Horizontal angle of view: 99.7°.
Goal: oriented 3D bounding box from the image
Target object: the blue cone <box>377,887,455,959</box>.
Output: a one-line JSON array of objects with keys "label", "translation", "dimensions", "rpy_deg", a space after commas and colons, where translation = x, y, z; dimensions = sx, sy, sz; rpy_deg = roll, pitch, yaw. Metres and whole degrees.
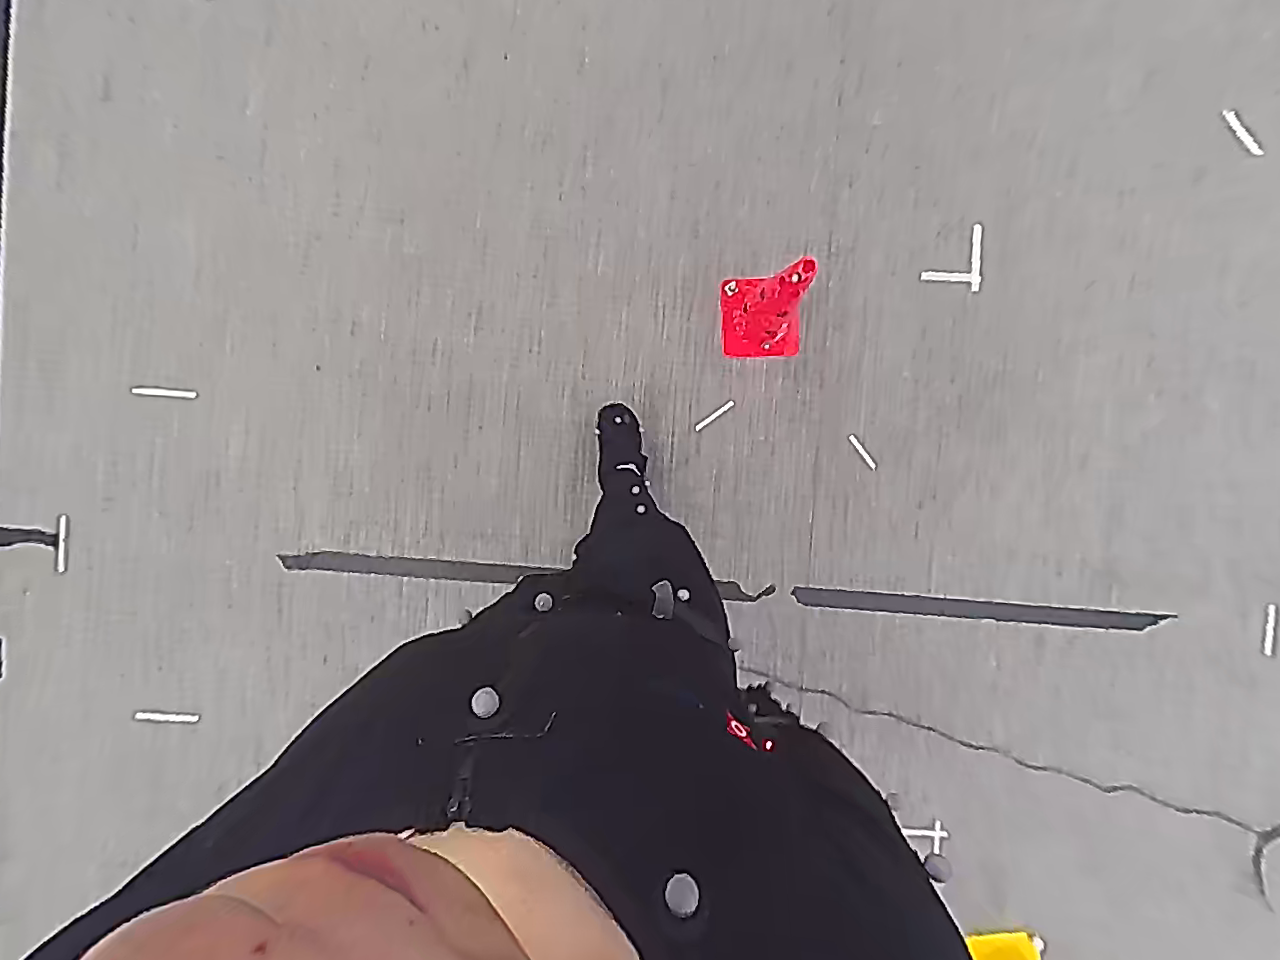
[{"label": "blue cone", "translation": [-0.553, 1.122, 1.193], "dimensions": [0.193, 0.380, 0.192], "rpy_deg": [5, 92, -2]}]

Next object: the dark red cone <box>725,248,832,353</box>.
[{"label": "dark red cone", "translation": [0.315, -0.410, 1.167], "dimensions": [0.202, 0.394, 0.201], "rpy_deg": [-4, 92, -2]}]
